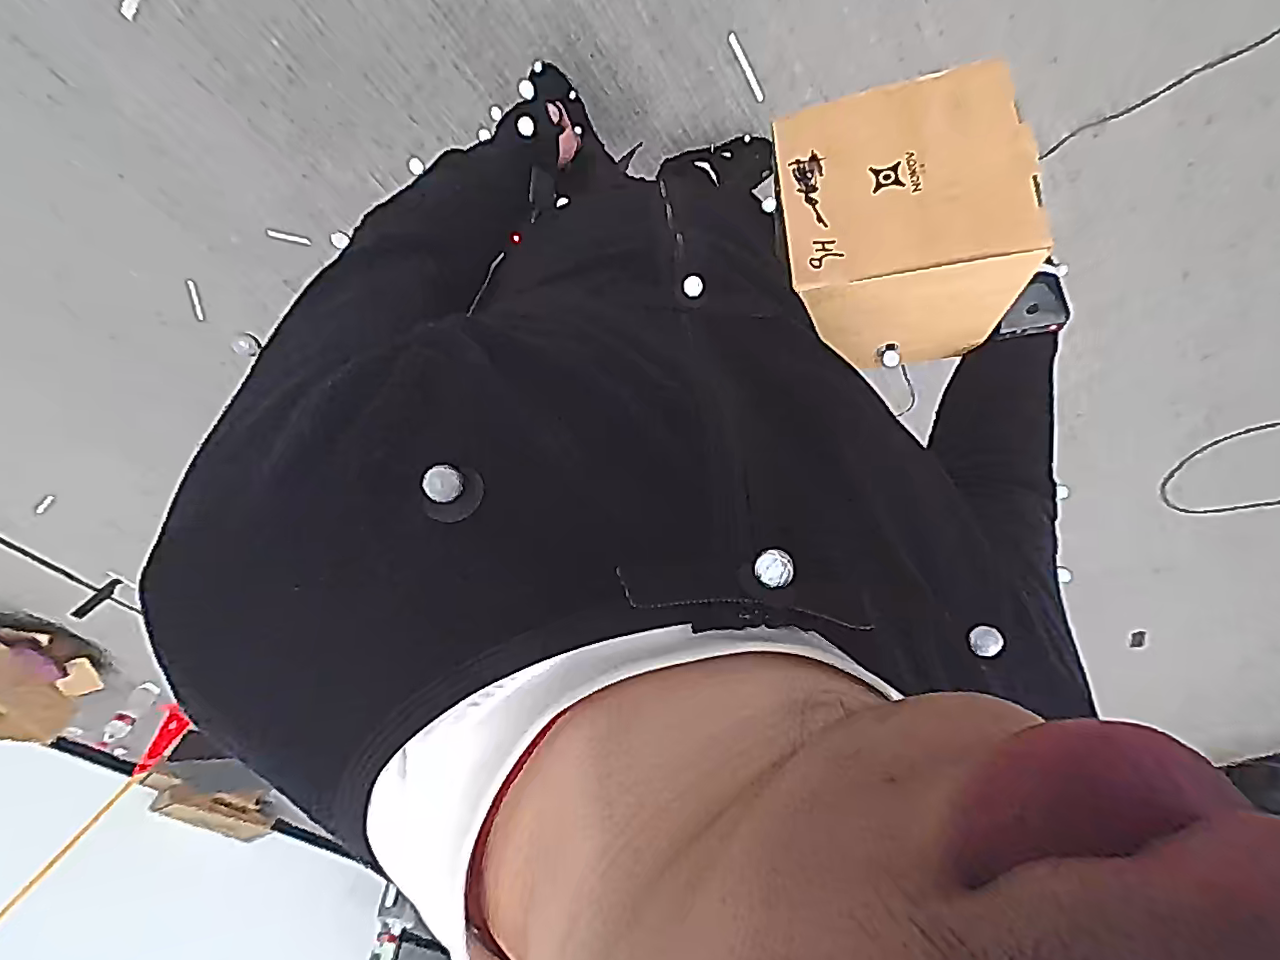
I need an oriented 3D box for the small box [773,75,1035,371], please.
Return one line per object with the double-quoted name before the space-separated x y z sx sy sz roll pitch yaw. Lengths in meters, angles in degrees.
"small box" 0.220 -0.218 0.505 0.179 0.168 0.176 -6 165 13
